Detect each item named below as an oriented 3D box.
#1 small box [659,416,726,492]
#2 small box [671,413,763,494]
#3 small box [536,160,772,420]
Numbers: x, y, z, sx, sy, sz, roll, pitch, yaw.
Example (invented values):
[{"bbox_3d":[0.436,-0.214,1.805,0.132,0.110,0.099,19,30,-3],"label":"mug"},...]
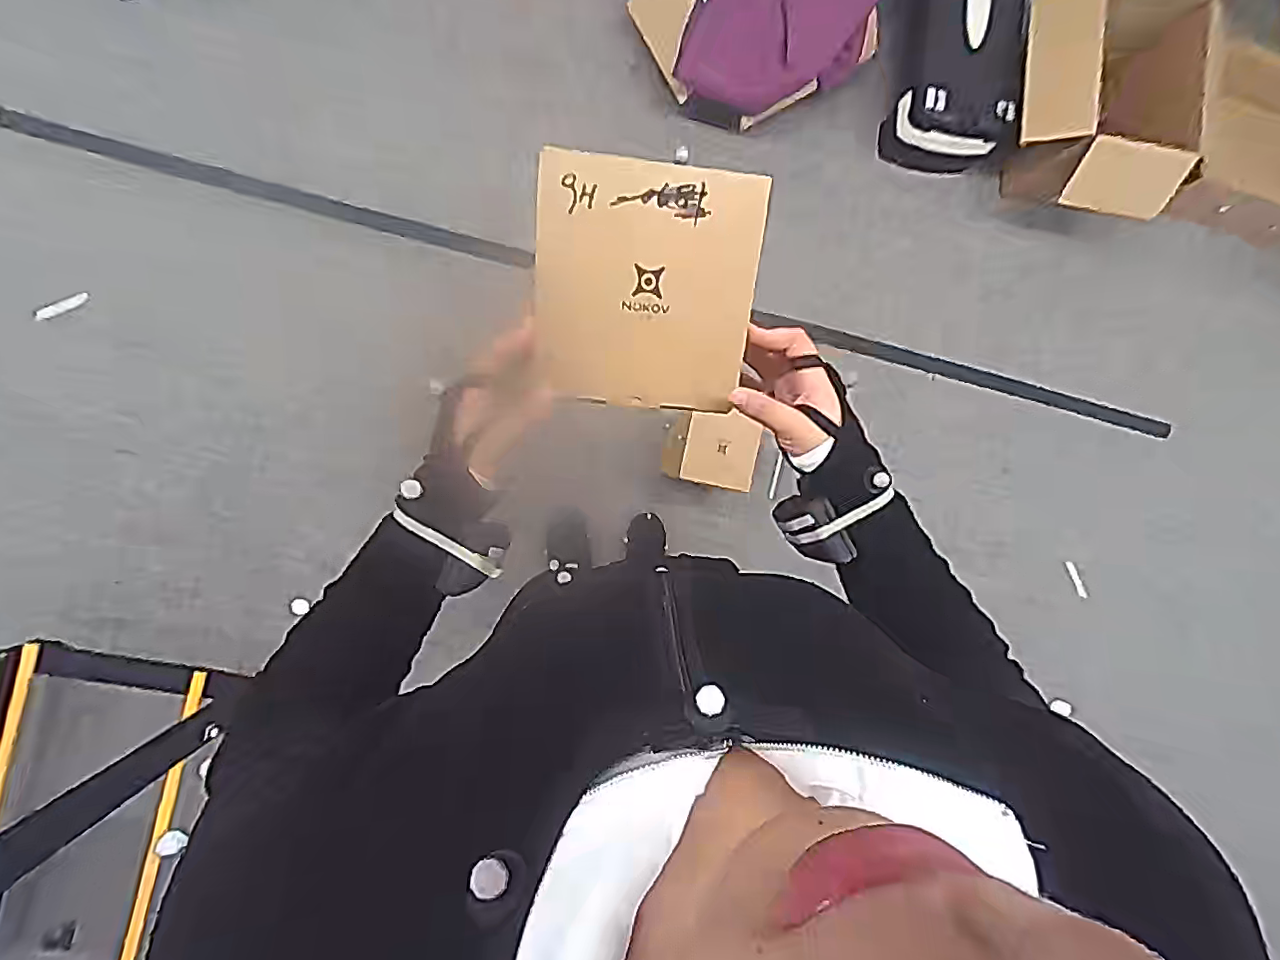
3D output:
[{"bbox_3d":[0.161,-0.068,1.449,0.179,0.176,0.168,16,89,-8],"label":"small box"},{"bbox_3d":[0.176,-0.070,1.287,0.168,0.176,0.179,11,90,-5],"label":"small box"},{"bbox_3d":[0.001,-0.165,0.483,0.168,0.176,0.179,3,112,-6],"label":"small box"}]
